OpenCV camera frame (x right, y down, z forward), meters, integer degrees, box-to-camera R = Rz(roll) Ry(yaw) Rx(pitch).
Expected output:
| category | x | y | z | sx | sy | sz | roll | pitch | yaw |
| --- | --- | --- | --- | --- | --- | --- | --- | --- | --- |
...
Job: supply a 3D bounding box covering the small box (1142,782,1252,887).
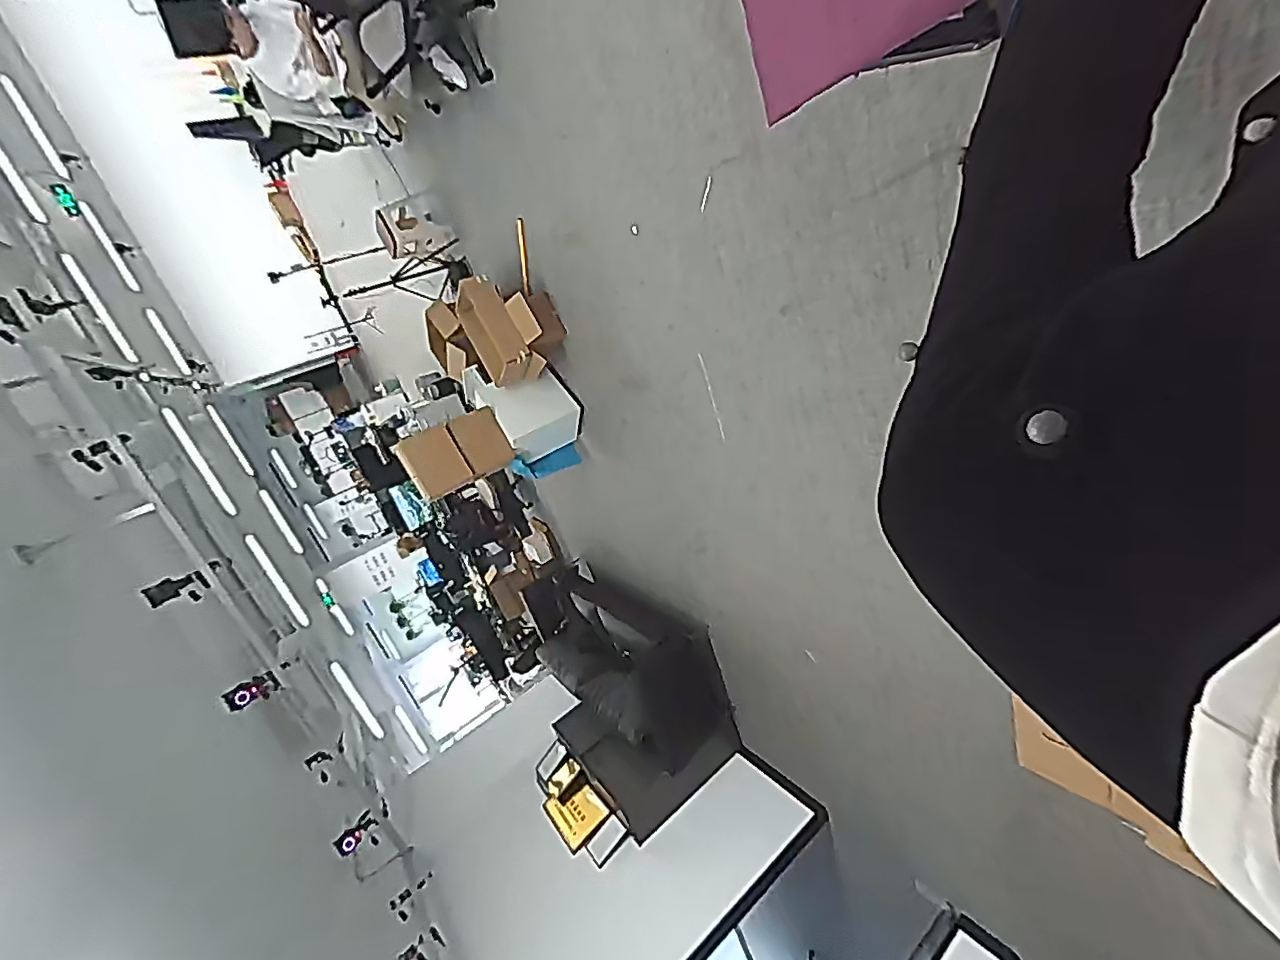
| category | x | y | z | sx | sy | sz | roll | pitch | yaw |
| --- | --- | --- | --- | --- | --- | --- | --- | --- | --- |
| small box | 1.658 | 1.043 | 1.613 | 0.179 | 0.176 | 0.168 | 24 | 137 | 50 |
